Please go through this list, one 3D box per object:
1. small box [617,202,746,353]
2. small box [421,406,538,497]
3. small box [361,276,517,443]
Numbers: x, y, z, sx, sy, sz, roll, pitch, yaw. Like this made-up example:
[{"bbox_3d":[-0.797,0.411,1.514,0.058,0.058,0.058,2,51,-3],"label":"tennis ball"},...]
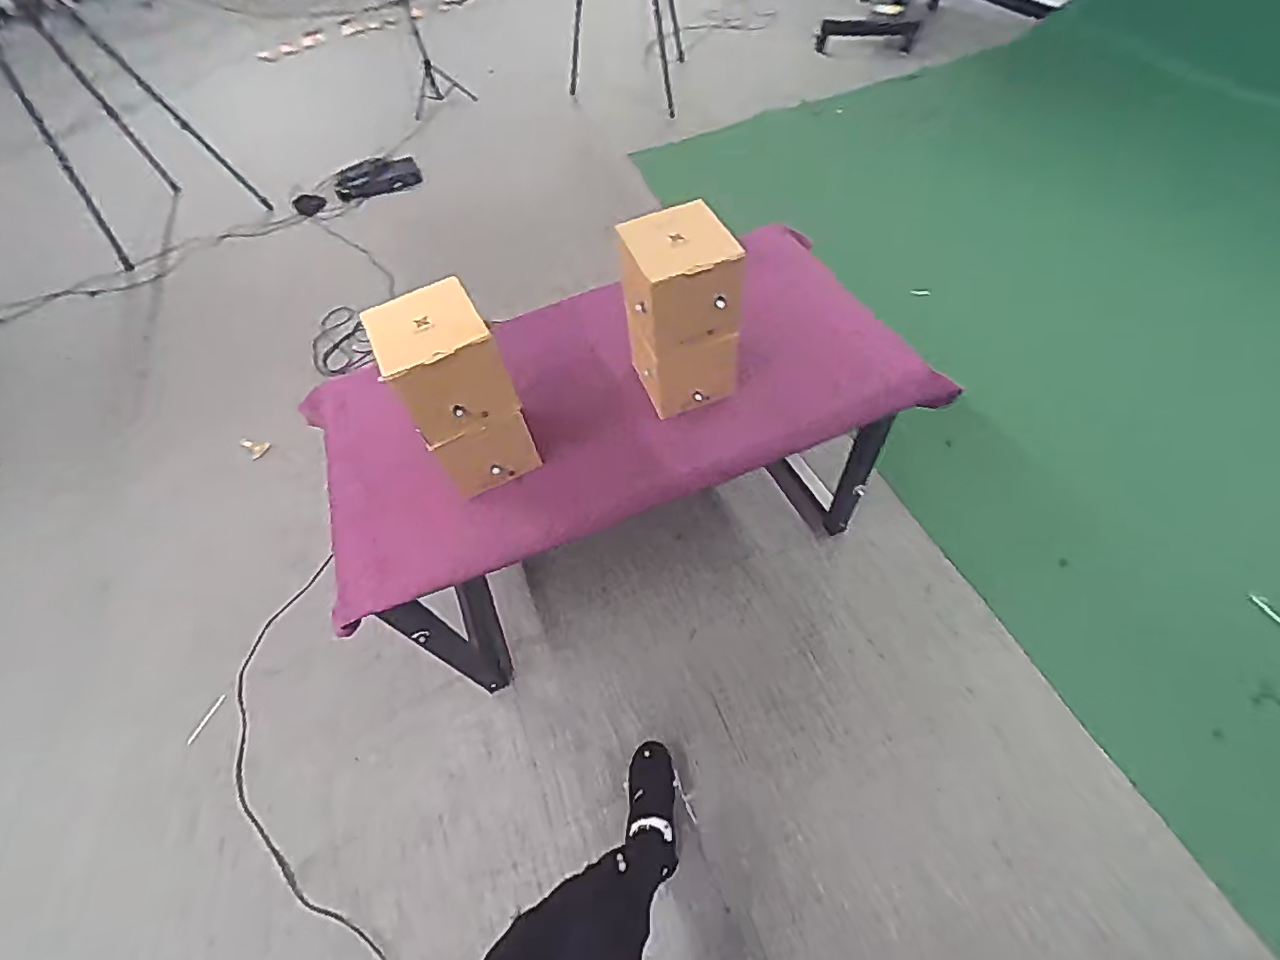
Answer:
[{"bbox_3d":[0.071,-0.345,0.946,0.168,0.176,0.179,-19,57,-7],"label":"small box"},{"bbox_3d":[-0.310,-0.100,1.020,0.168,0.176,0.179,-25,58,-10],"label":"small box"},{"bbox_3d":[-0.323,-0.194,0.888,0.168,0.176,0.179,-27,58,-12],"label":"small box"}]
